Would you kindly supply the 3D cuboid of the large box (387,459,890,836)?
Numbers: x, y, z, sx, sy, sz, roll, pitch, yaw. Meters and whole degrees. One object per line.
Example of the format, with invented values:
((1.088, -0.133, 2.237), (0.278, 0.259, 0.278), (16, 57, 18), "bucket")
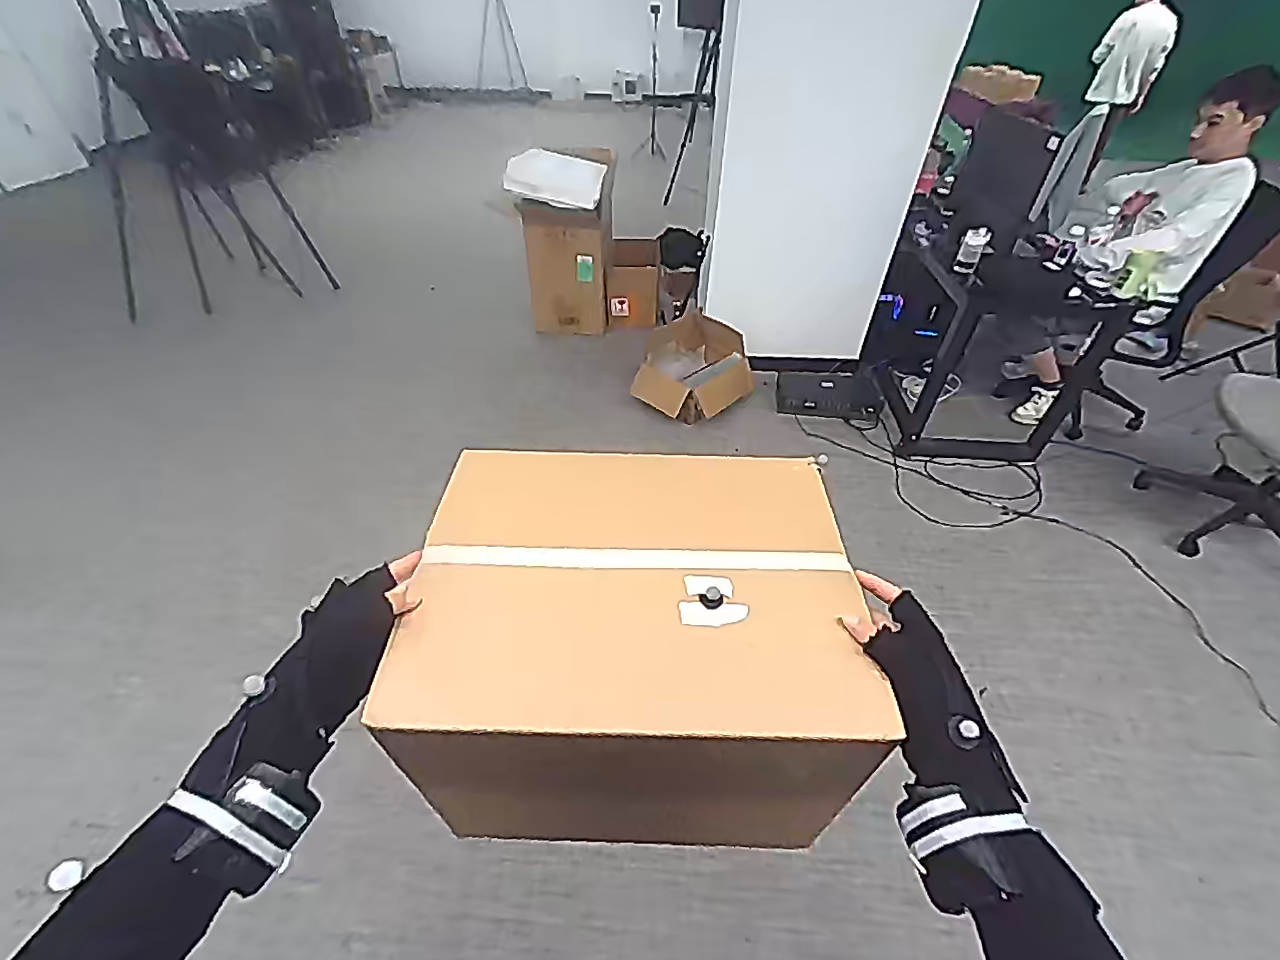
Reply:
((-0.004, 0.193, 0.627), (0.408, 0.320, 0.320), (2, 44, 0), "large box")
